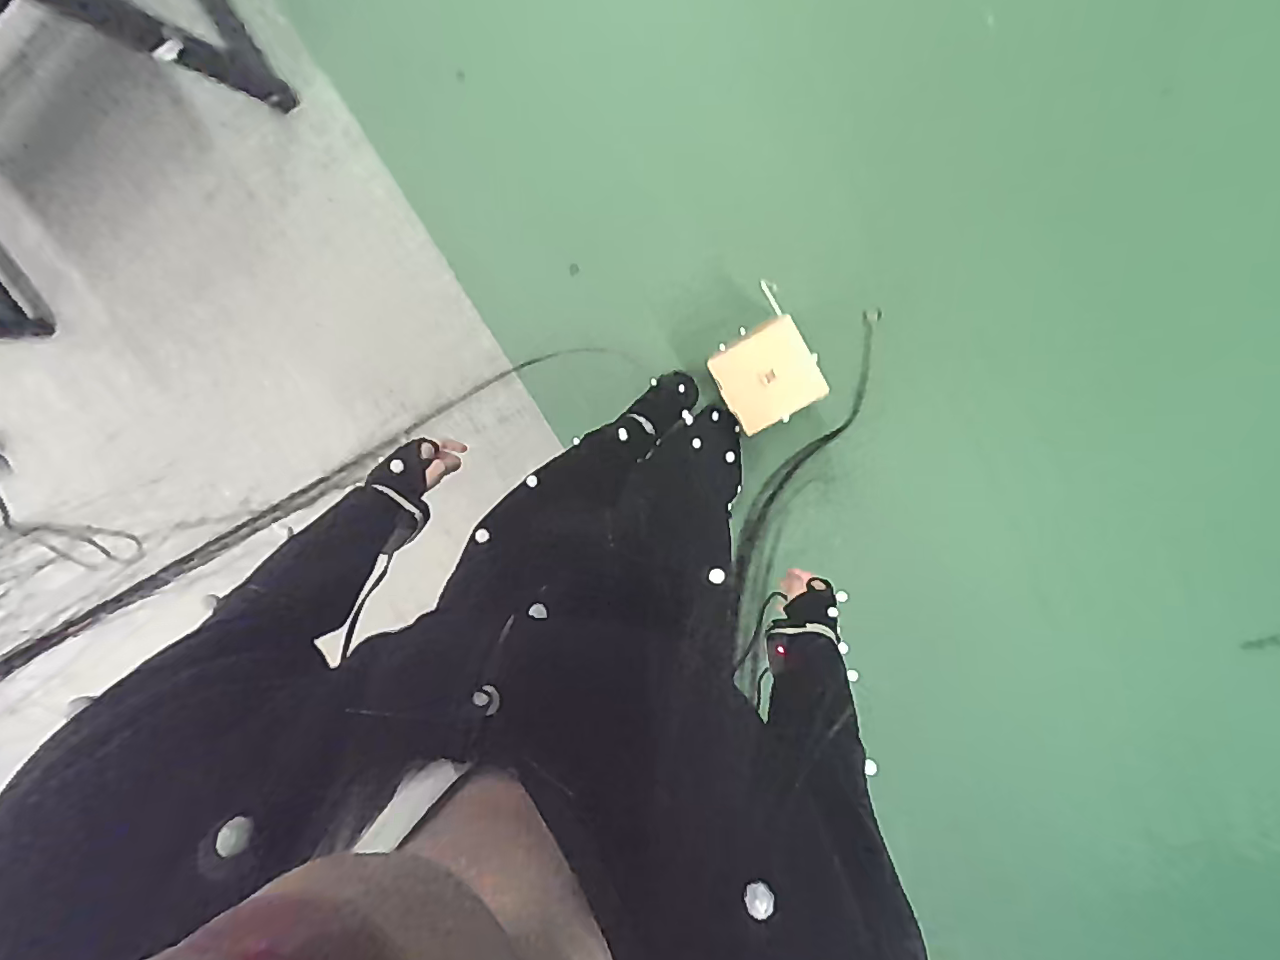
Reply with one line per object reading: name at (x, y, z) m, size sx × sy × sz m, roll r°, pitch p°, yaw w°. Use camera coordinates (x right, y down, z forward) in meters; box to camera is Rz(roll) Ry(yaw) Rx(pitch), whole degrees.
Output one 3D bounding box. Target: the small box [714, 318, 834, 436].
small box at (0.266, -0.217, 1.103) m, size 0.179 × 0.176 × 0.168 m, roll -29°, pitch 100°, yaw 18°
